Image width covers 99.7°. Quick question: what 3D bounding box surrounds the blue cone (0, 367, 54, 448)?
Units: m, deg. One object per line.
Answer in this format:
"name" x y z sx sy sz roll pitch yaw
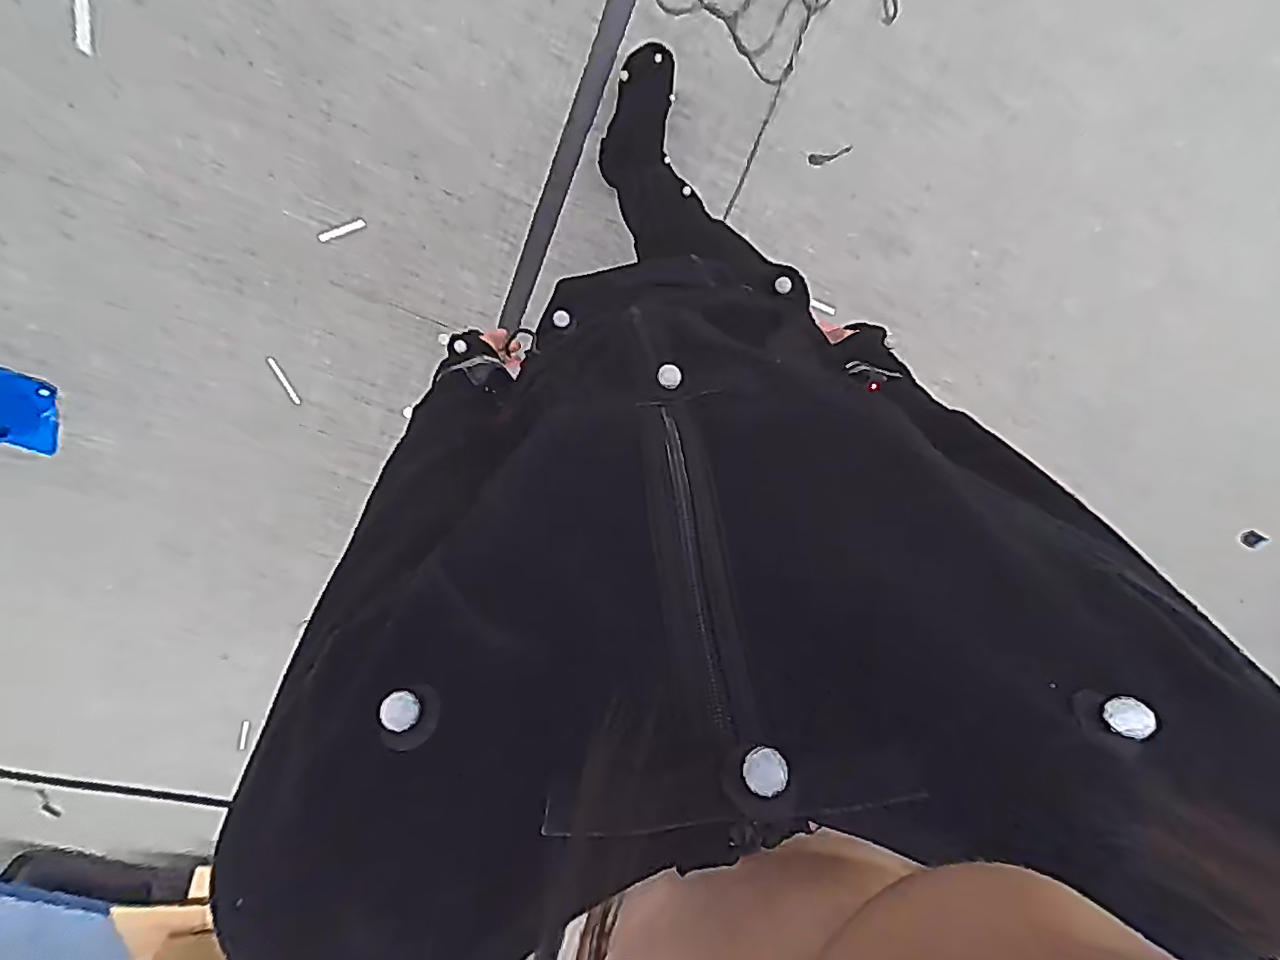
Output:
"blue cone" -1.469 -0.096 1.122 0.193 0.380 0.192 23 114 -18
